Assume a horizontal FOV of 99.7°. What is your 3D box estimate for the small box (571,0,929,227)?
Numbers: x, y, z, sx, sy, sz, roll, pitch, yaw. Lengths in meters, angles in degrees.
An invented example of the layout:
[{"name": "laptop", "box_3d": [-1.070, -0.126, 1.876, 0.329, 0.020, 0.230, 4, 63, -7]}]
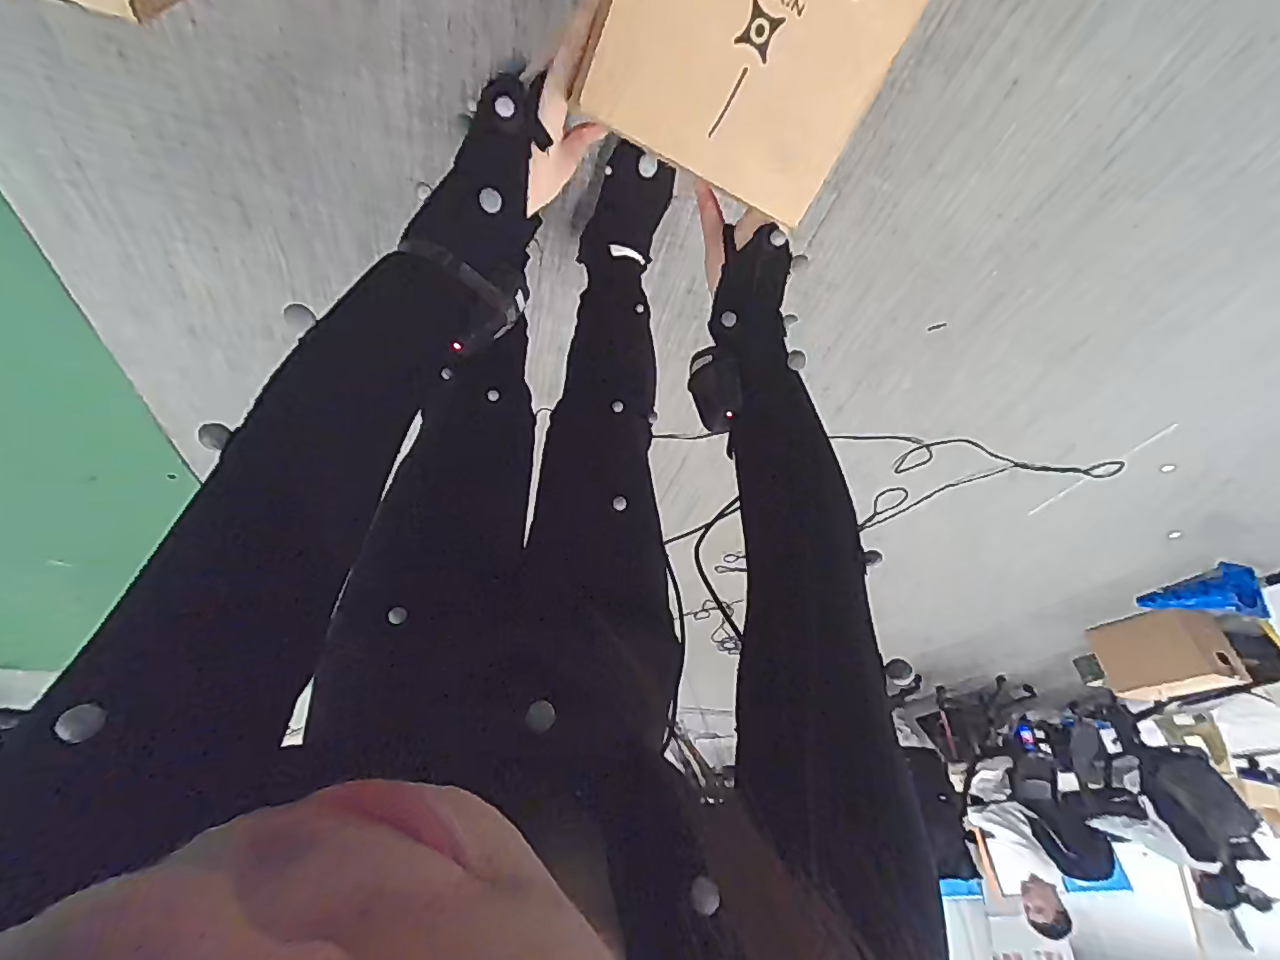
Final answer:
[{"name": "small box", "box_3d": [0.058, -0.307, 0.362, 0.168, 0.176, 0.179, 17, 121, -22]}]
